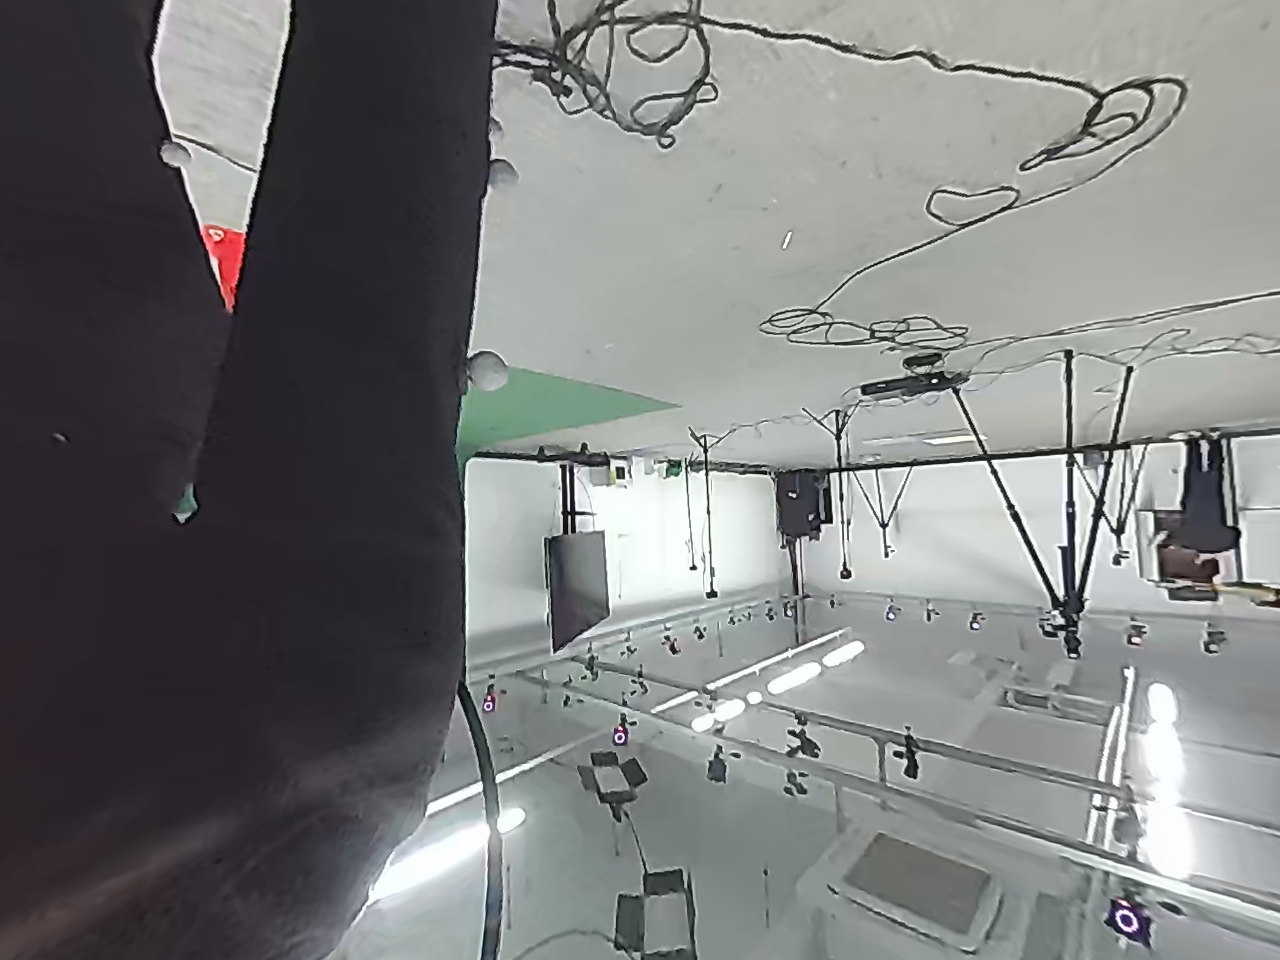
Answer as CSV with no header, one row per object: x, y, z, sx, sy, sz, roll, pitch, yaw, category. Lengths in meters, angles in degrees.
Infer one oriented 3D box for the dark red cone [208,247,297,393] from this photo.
-1.099,-0.444,1.532,0.202,0.394,0.201,1,178,-39,dark red cone
